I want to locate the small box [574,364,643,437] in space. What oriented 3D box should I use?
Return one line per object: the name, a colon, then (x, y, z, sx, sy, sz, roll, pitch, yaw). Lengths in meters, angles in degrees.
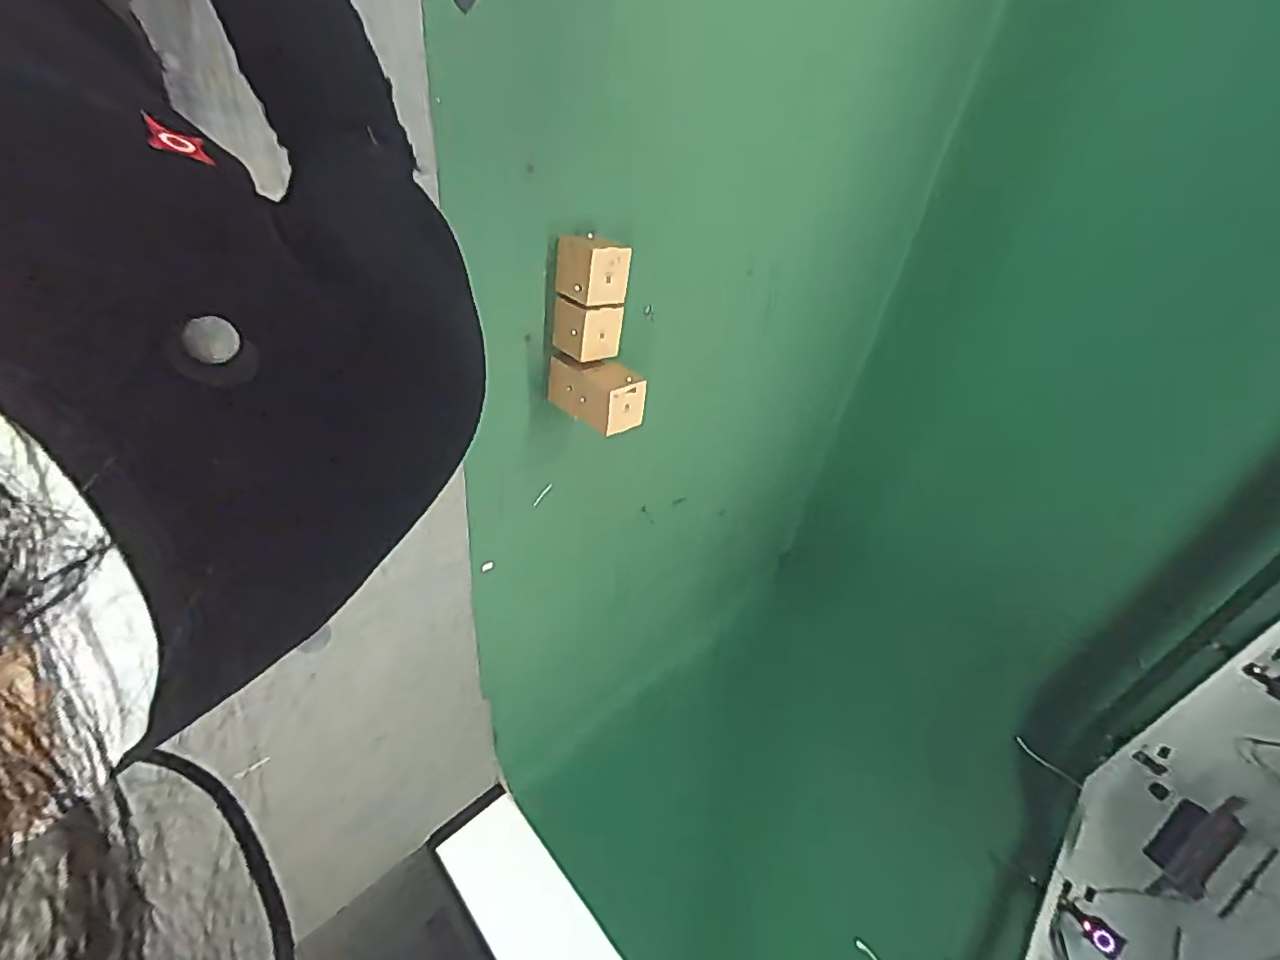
small box: (-0.115, -0.280, 1.874, 0.168, 0.176, 0.179, -25, 138, -38)
